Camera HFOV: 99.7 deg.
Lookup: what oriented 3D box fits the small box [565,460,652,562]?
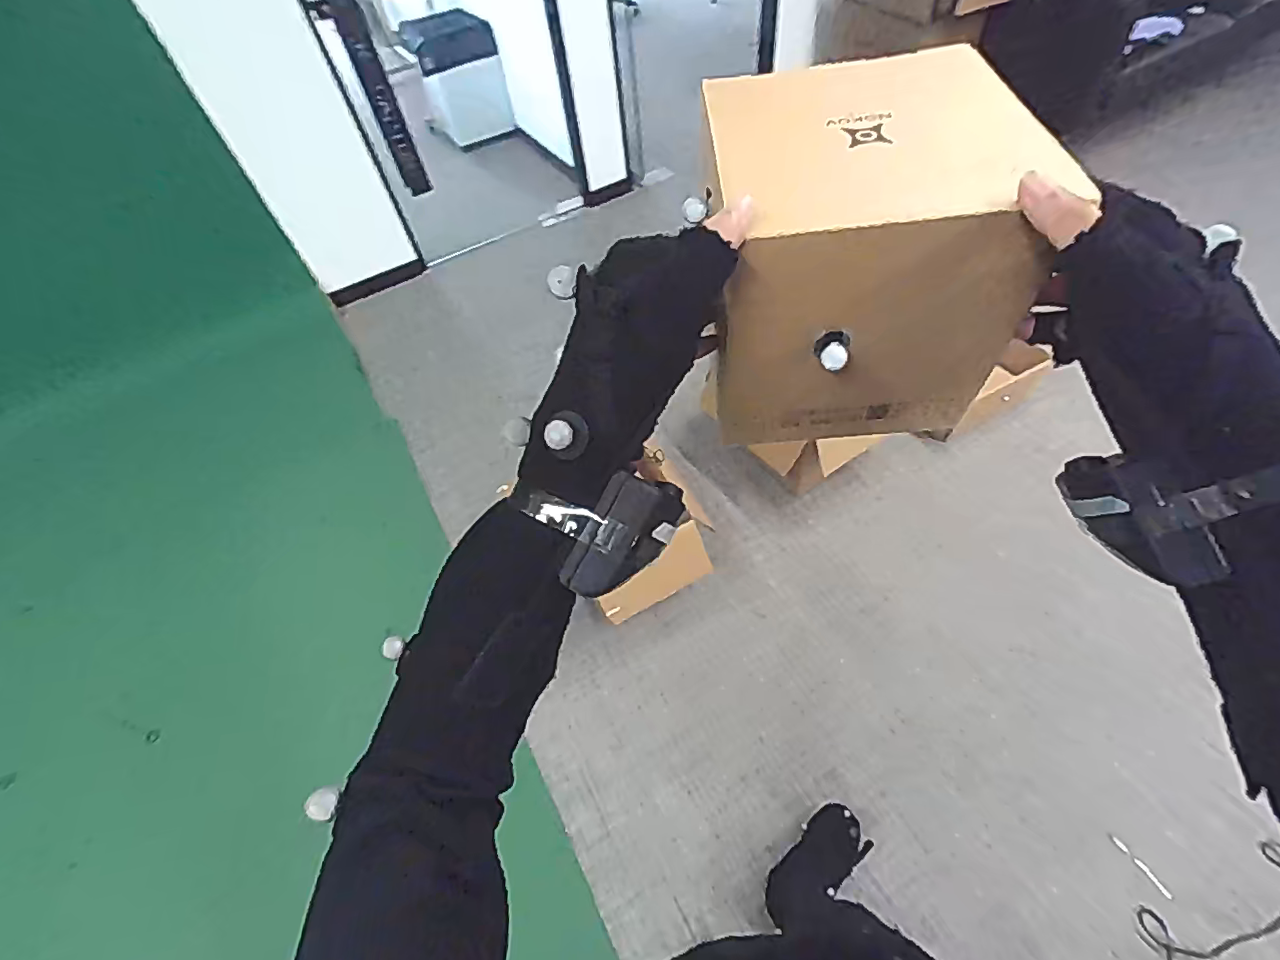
[{"bbox_3d":[-0.079,0.083,1.434,0.179,0.176,0.168,-25,51,-16],"label":"small box"}]

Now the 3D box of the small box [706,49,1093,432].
[{"bbox_3d":[0.134,-0.145,0.363,0.168,0.176,0.179,-4,56,5],"label":"small box"}]
